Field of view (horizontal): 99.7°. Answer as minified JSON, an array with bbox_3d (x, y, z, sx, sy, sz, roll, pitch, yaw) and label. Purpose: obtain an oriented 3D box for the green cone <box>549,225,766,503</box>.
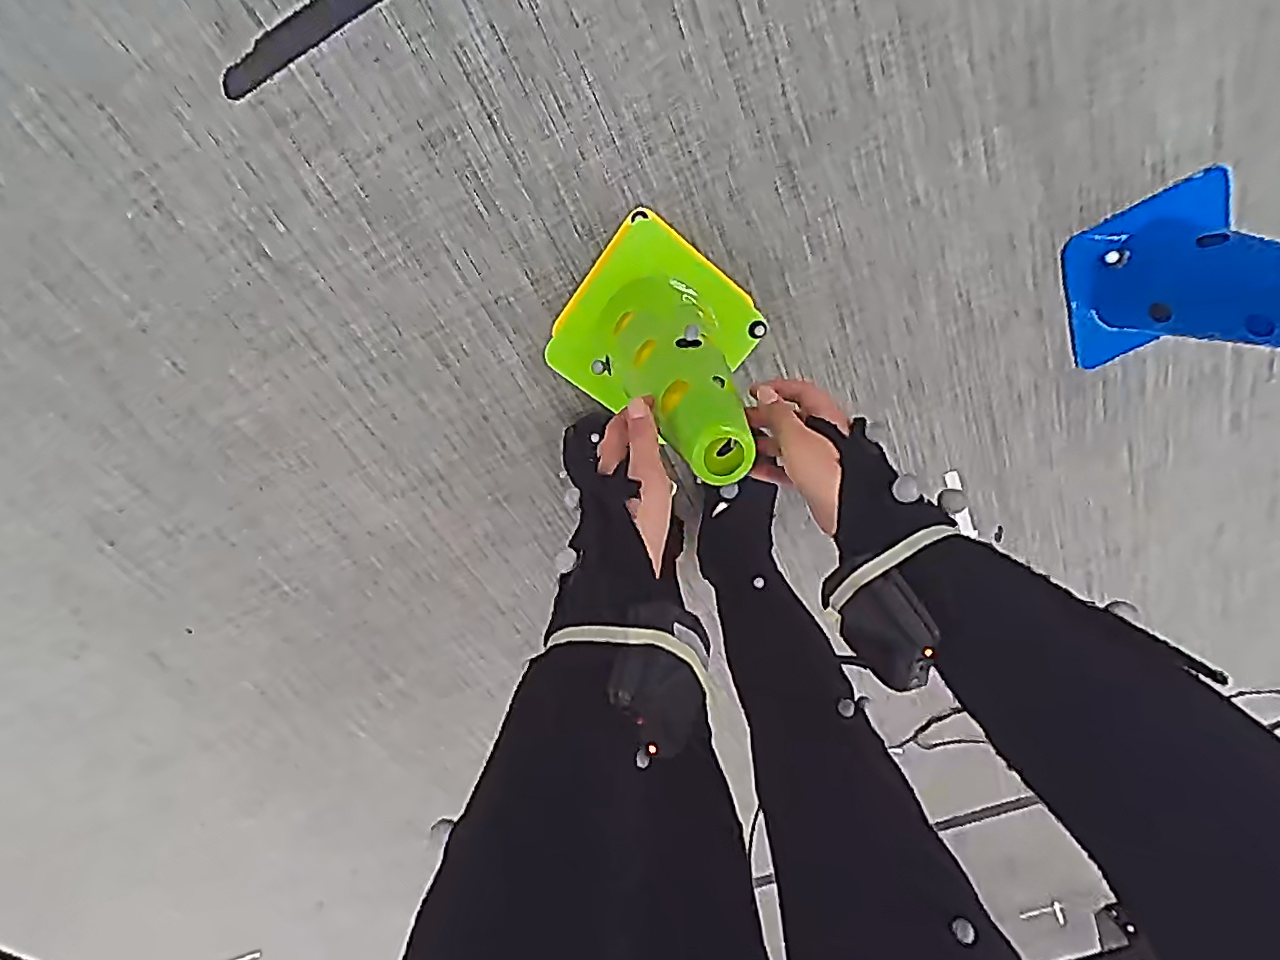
[{"bbox_3d":[0.033,-0.085,0.481,0.200,0.368,0.202,33,109,-18],"label":"green cone"}]
